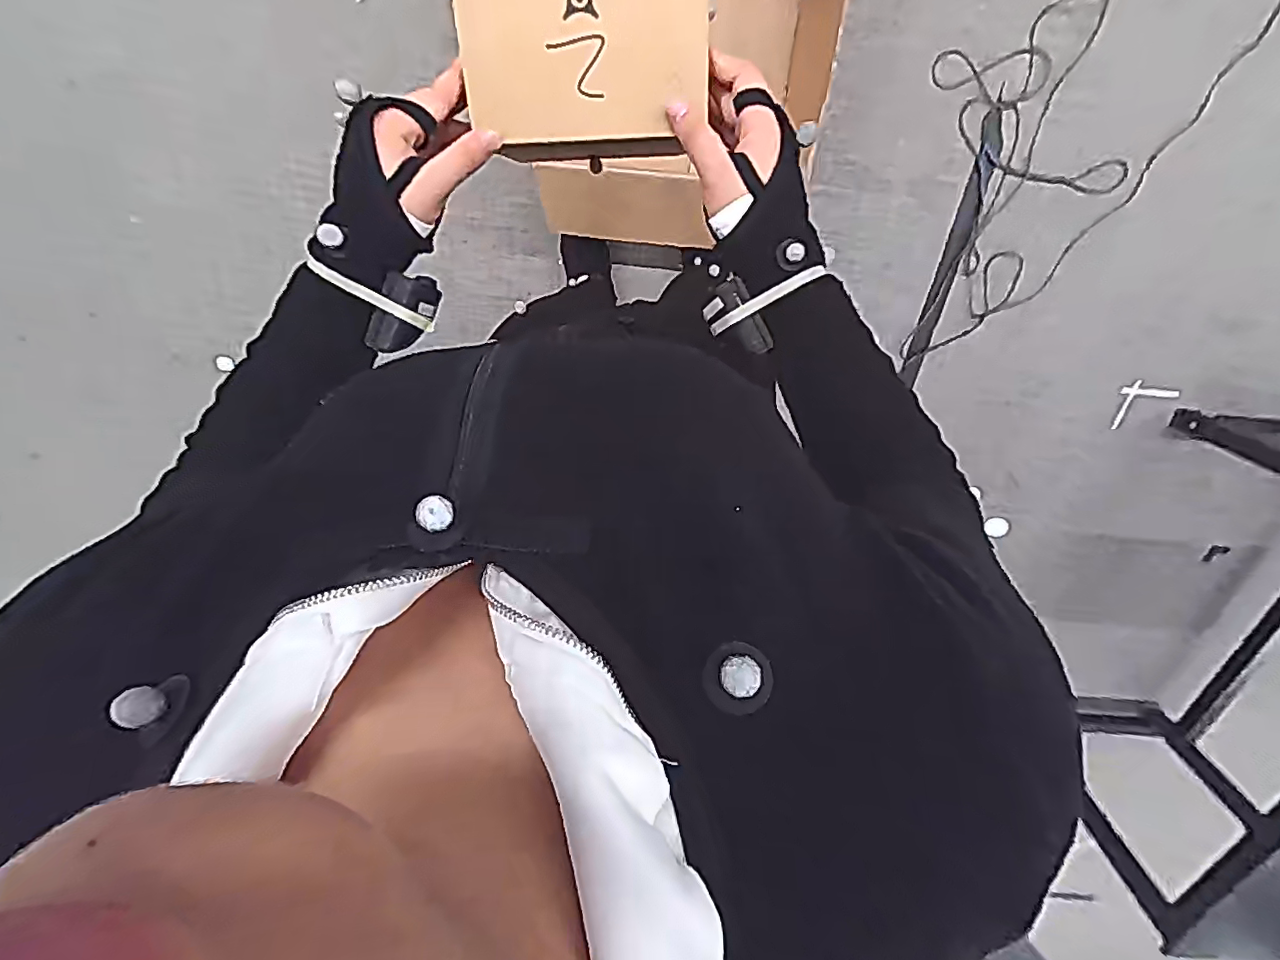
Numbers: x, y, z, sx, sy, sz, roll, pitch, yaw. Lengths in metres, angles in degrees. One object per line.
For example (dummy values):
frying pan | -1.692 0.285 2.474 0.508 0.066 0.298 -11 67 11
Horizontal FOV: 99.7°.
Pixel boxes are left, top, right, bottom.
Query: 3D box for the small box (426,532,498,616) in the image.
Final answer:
small box | -0.523 0.278 1.609 0.168 0.176 0.179 6 116 -4
